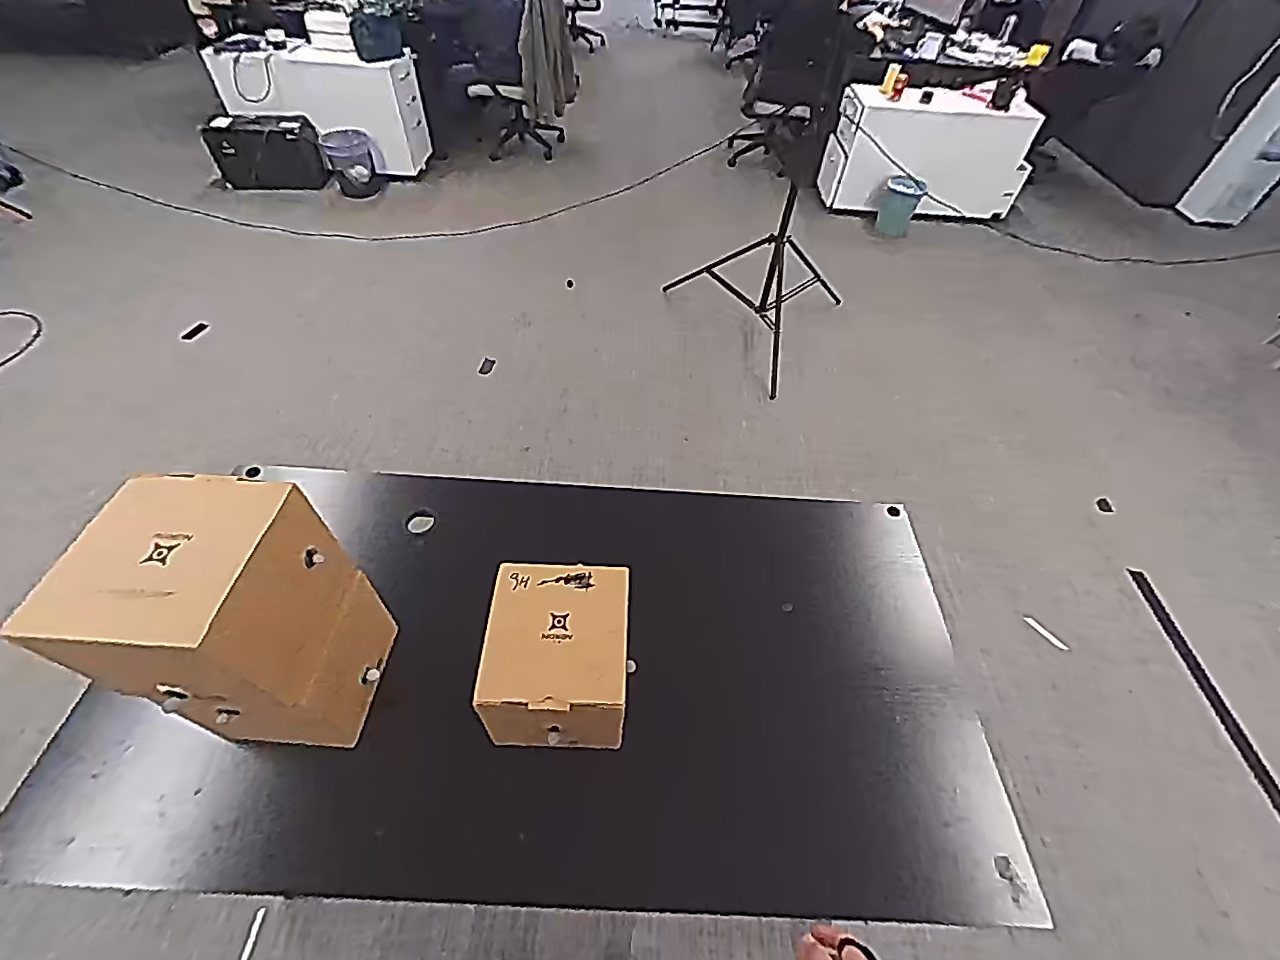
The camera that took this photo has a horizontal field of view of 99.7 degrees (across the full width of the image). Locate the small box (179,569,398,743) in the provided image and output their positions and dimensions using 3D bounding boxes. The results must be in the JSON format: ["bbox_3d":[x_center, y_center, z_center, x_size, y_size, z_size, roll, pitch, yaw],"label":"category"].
[{"bbox_3d":[-0.437,0.220,0.682,0.179,0.176,0.168,5,50,-1],"label":"small box"}]

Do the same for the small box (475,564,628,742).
[{"bbox_3d":[-0.100,0.228,0.700,0.168,0.176,0.179,2,50,-2],"label":"small box"}]

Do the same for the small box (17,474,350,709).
[{"bbox_3d":[-0.430,0.116,0.557,0.168,0.176,0.179,3,51,0],"label":"small box"}]
